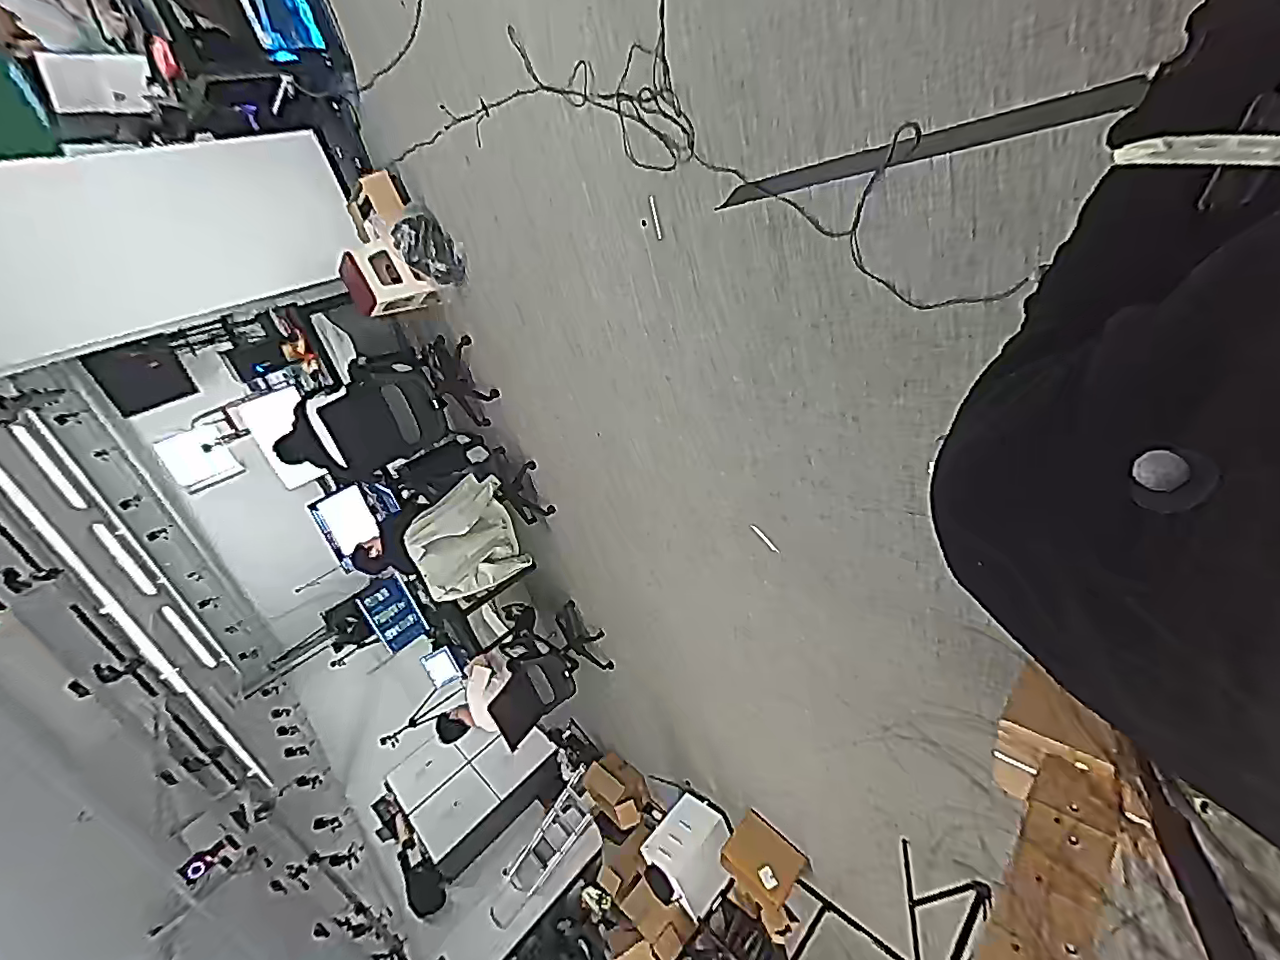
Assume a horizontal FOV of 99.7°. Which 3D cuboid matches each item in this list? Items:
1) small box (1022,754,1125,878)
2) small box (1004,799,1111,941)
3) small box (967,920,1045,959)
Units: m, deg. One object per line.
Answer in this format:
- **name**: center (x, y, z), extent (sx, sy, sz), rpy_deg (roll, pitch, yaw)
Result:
- **small box**: center (1.100, 0.843, 1.375), extent (0.179, 0.176, 0.168), rpy_deg (13, 127, 48)
- **small box**: center (0.987, 0.912, 1.280), extent (0.168, 0.176, 0.179), rpy_deg (13, 127, 46)
- **small box**: center (0.757, 1.061, 1.100), extent (0.168, 0.176, 0.179), rpy_deg (16, 130, 45)
